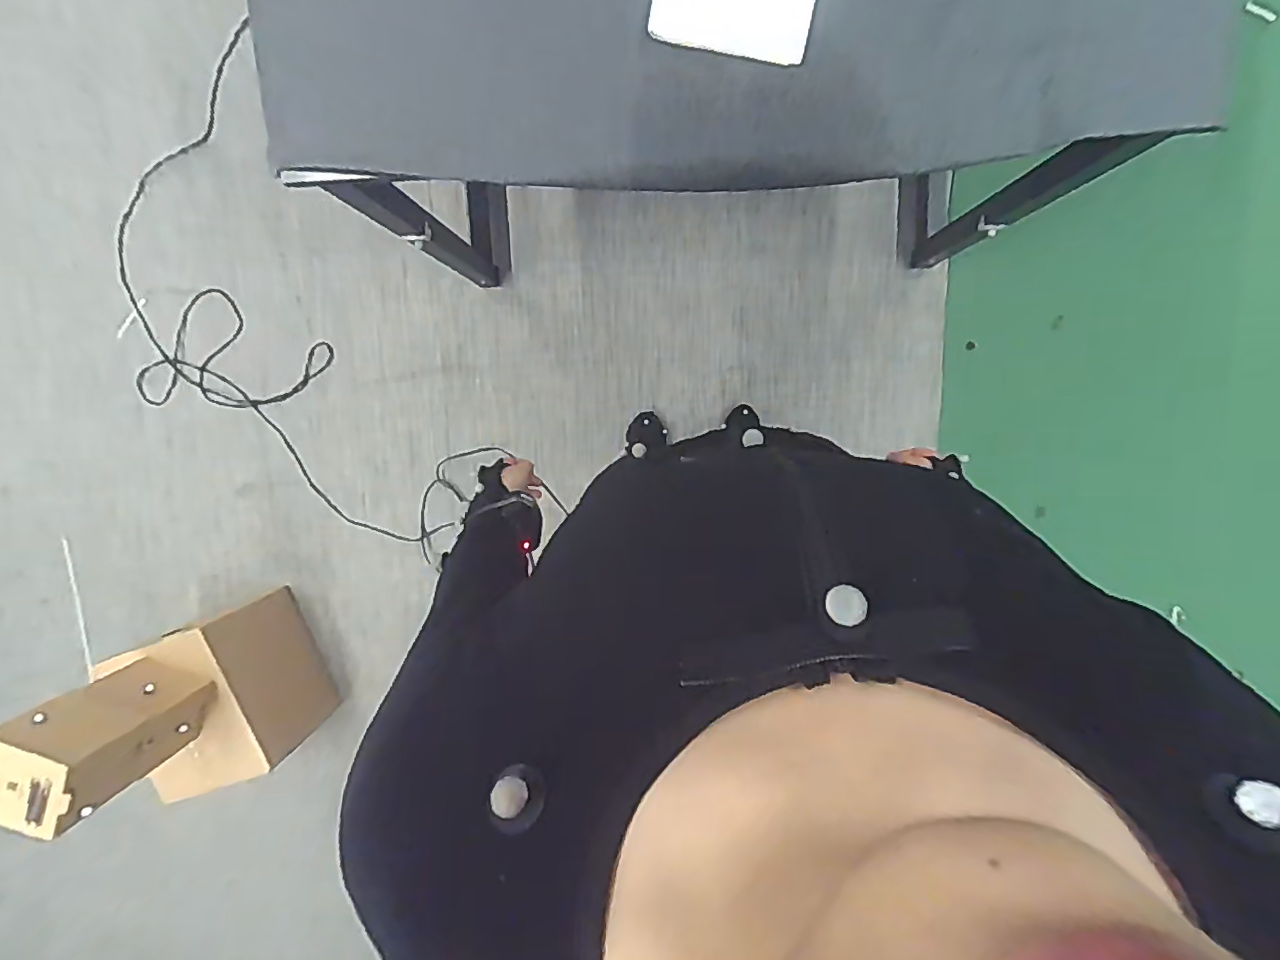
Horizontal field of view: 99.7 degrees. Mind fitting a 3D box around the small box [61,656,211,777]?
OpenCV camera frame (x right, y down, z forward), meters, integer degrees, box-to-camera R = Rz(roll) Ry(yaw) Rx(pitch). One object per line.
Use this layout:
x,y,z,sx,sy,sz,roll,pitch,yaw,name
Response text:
-1.137,0.528,1.233,0.179,0.176,0.168,20,98,-2,small box
